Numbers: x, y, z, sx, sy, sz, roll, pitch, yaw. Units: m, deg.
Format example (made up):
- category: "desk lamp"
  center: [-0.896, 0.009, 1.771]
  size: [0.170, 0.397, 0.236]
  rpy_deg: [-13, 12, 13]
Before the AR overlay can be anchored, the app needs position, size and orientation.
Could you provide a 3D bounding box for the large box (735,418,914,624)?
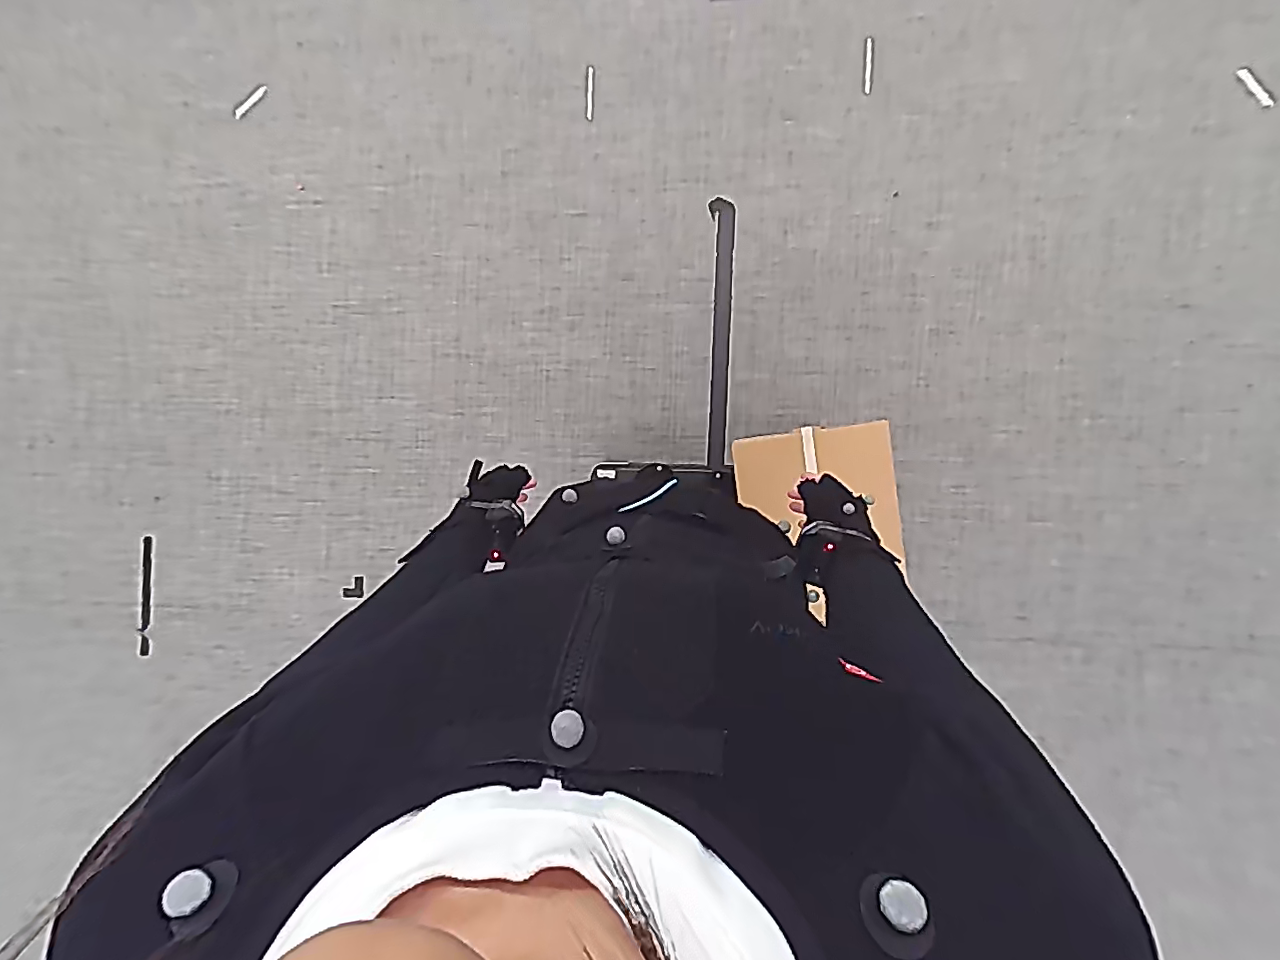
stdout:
- category: "large box"
  center: [0.404, 0.082, 1.256]
  size: [0.320, 0.320, 0.408]
  rpy_deg: [-7, 92, 13]
